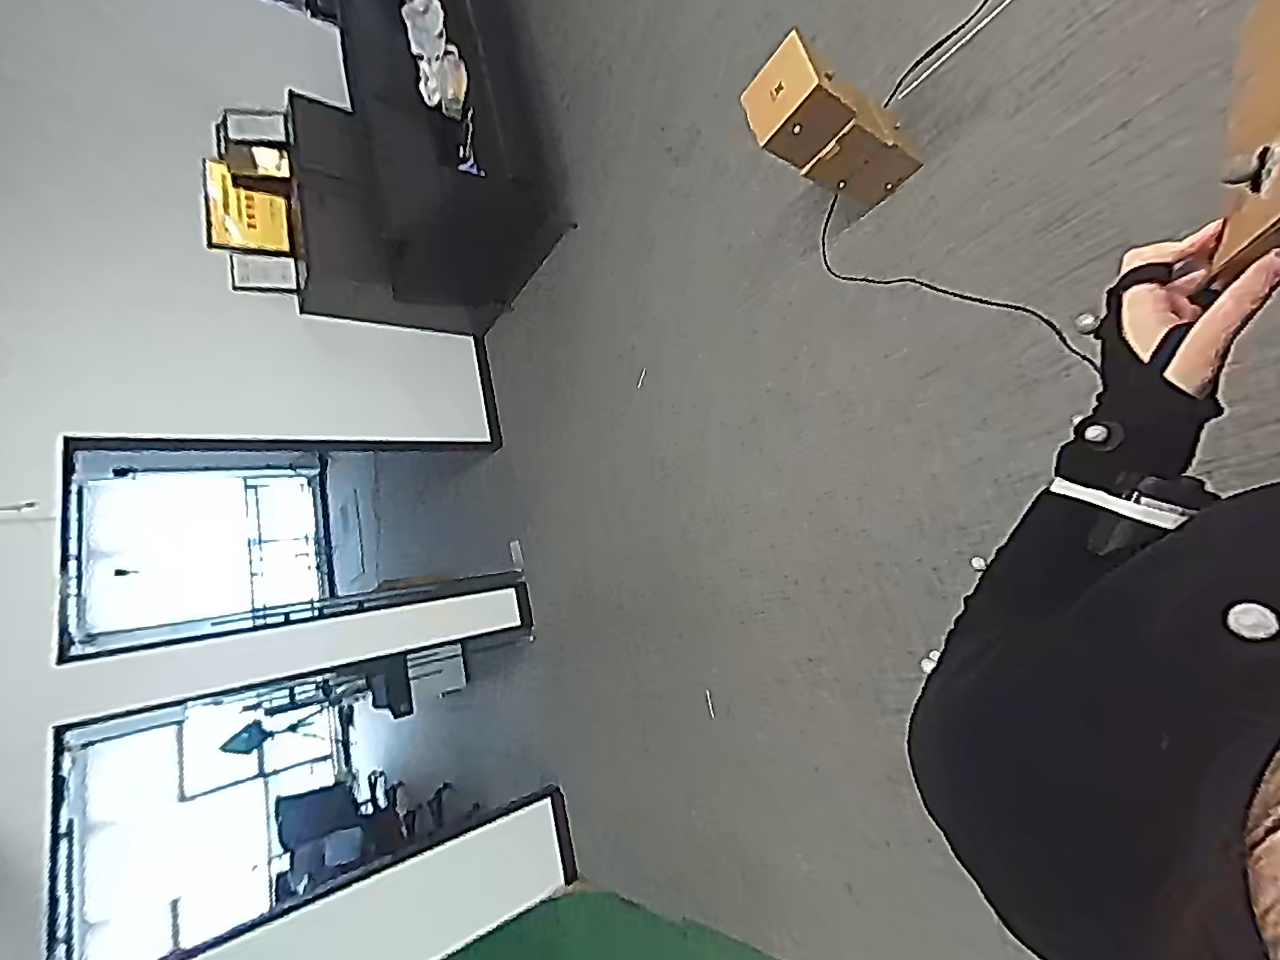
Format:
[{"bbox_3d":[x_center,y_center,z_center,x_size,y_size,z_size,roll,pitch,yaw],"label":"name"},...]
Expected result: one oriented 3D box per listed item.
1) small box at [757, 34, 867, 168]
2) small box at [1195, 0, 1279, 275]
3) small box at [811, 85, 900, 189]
[{"bbox_3d":[0.419,-0.901,1.303,0.179,0.176,0.168,-34,65,49],"label":"small box"},{"bbox_3d":[0.419,-0.215,0.250,0.168,0.179,0.176,8,86,25],"label":"small box"},{"bbox_3d":[0.544,-0.895,1.410,0.168,0.176,0.179,-33,65,48],"label":"small box"}]
